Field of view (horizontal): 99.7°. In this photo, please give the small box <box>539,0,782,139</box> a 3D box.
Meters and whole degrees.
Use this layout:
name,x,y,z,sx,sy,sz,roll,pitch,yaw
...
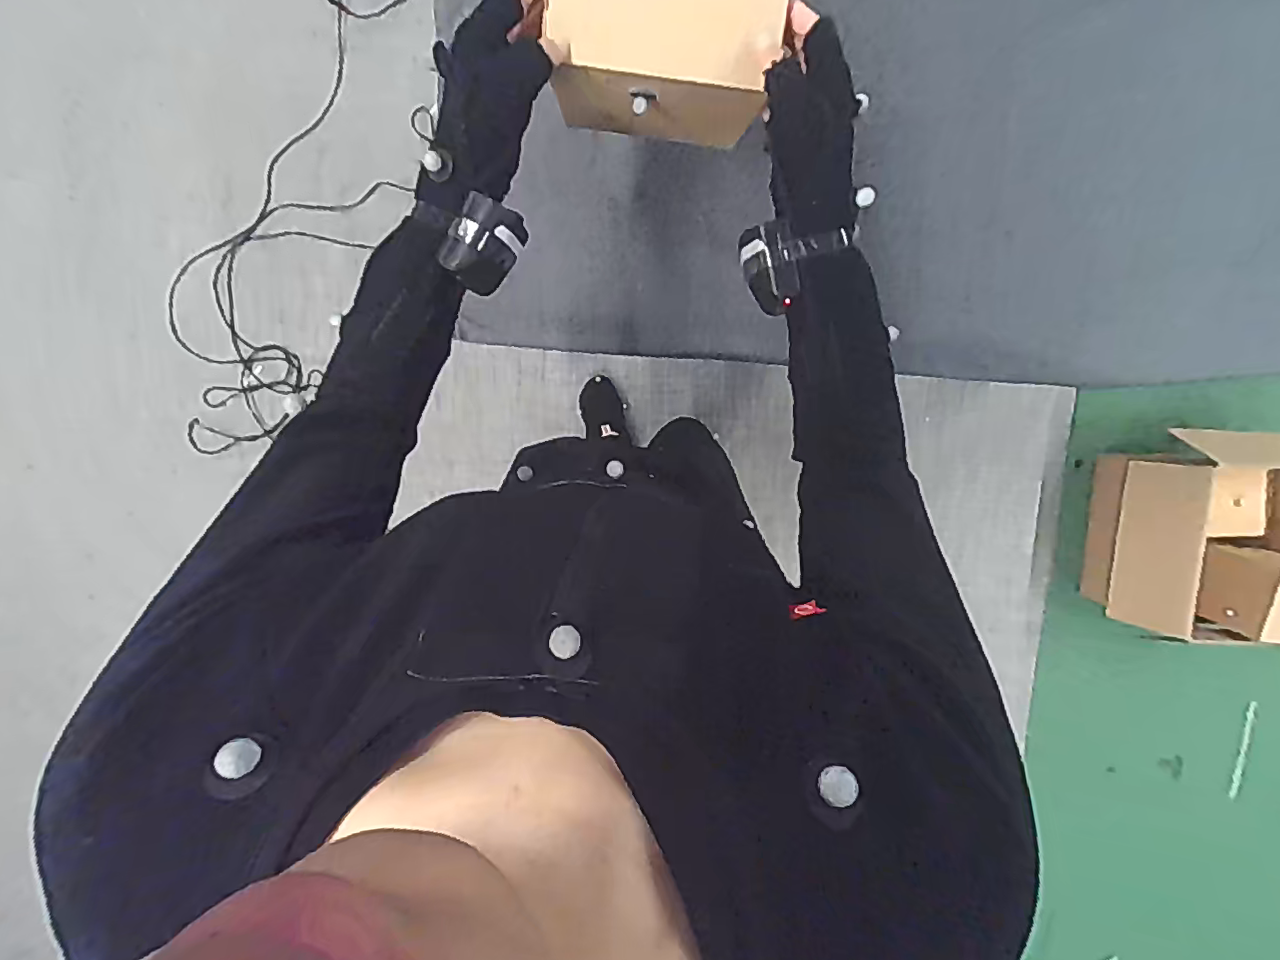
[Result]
name,x,y,z,sx,sy,sz,roll,pitch,yaw
small box,0.019,-0.408,0.454,0.179,0.176,0.168,5,109,-4
